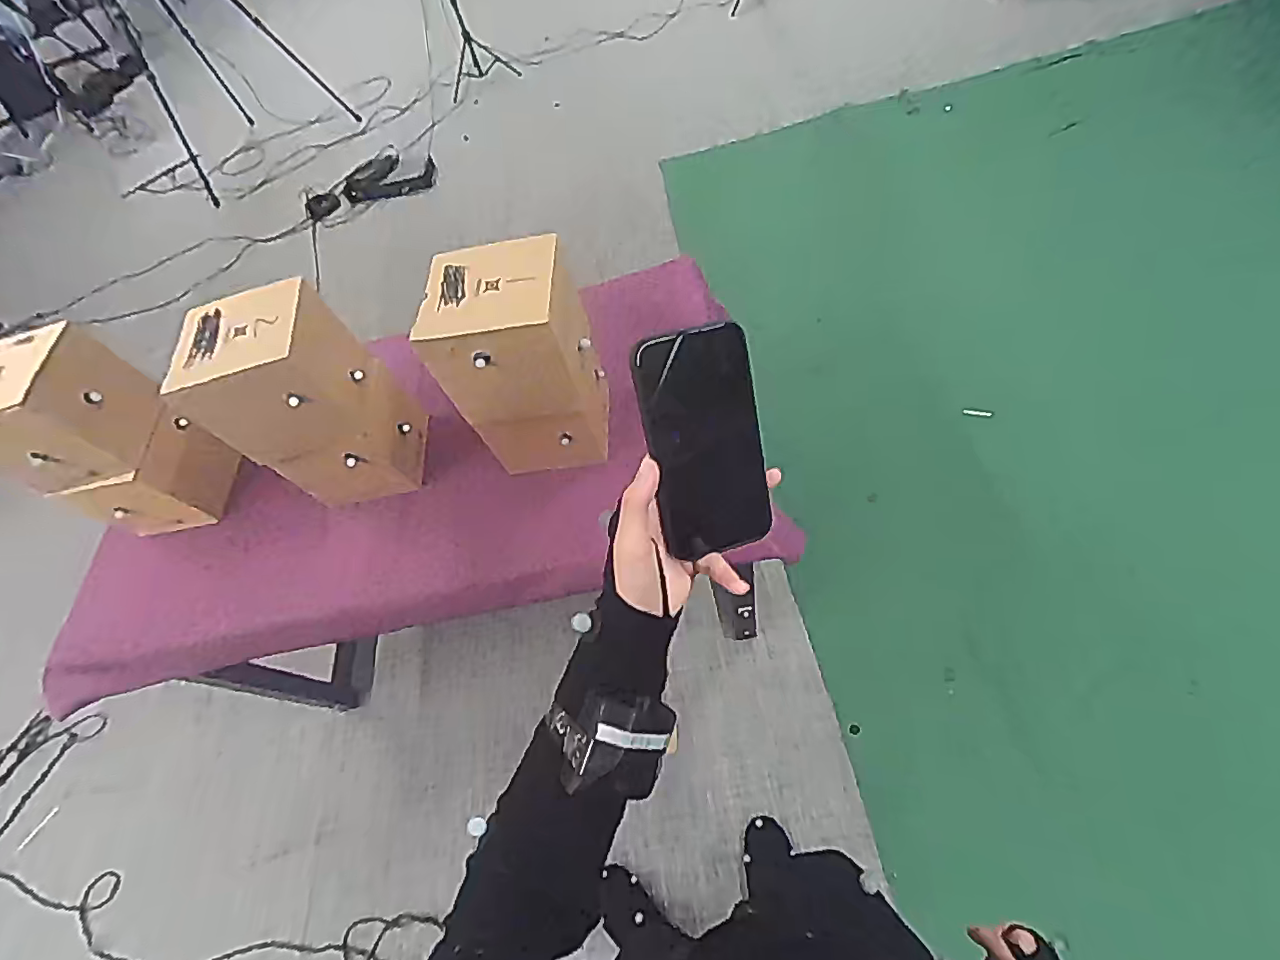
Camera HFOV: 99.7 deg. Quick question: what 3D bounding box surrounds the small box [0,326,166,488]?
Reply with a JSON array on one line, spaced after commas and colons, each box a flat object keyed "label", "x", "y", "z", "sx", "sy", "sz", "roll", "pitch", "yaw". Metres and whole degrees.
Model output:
[{"label": "small box", "x": -0.904, "y": -0.103, "z": 0.848, "sx": 0.168, "sy": 0.176, "sz": 0.179, "roll": -15, "pitch": 58, "yaw": 3}]

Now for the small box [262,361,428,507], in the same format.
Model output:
[{"label": "small box", "x": -0.489, "y": -0.072, "z": 0.928, "sx": 0.179, "sy": 0.176, "sz": 0.168, "roll": -11, "pitch": 58, "yaw": 6}]

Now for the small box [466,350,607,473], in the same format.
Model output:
[{"label": "small box", "x": -0.155, "y": -0.126, "z": 0.885, "sx": 0.179, "sy": 0.176, "sz": 0.168, "roll": -6, "pitch": 58, "yaw": 10}]

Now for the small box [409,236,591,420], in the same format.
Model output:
[{"label": "small box", "x": -0.176, "y": -0.198, "z": 0.739, "sx": 0.179, "sy": 0.176, "sz": 0.168, "roll": -6, "pitch": 58, "yaw": 9}]

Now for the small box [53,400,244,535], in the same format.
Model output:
[{"label": "small box", "x": -0.872, "y": -0.013, "z": 0.982, "sx": 0.168, "sy": 0.176, "sz": 0.179, "roll": -11, "pitch": 58, "yaw": 6}]
